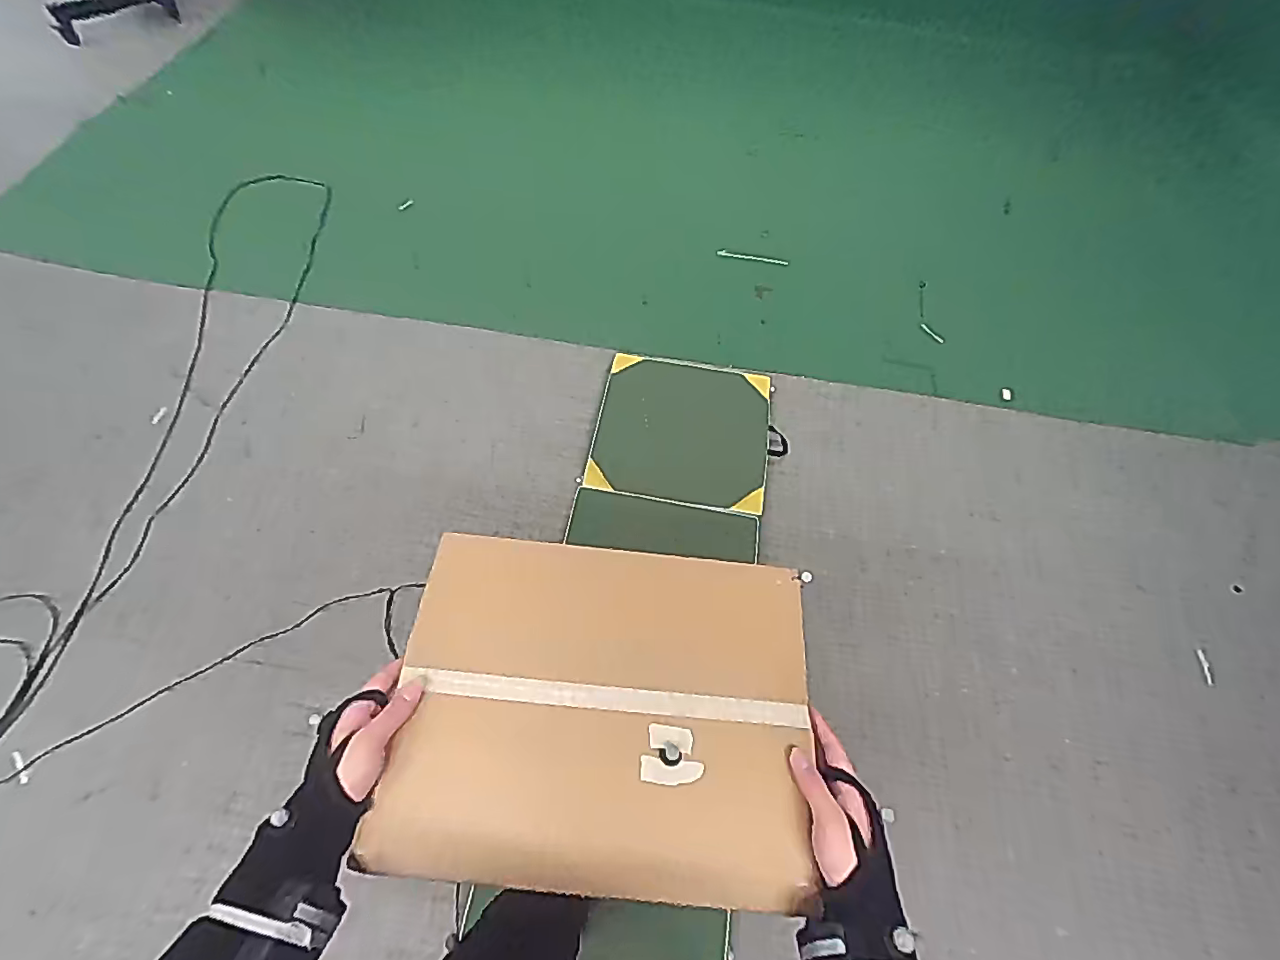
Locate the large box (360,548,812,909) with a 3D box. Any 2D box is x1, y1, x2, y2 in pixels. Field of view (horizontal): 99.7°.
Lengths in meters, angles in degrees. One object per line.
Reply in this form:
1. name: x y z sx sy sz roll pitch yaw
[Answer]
1. large box: -0.047 0.302 0.670 0.408 0.320 0.320 6 60 -1
